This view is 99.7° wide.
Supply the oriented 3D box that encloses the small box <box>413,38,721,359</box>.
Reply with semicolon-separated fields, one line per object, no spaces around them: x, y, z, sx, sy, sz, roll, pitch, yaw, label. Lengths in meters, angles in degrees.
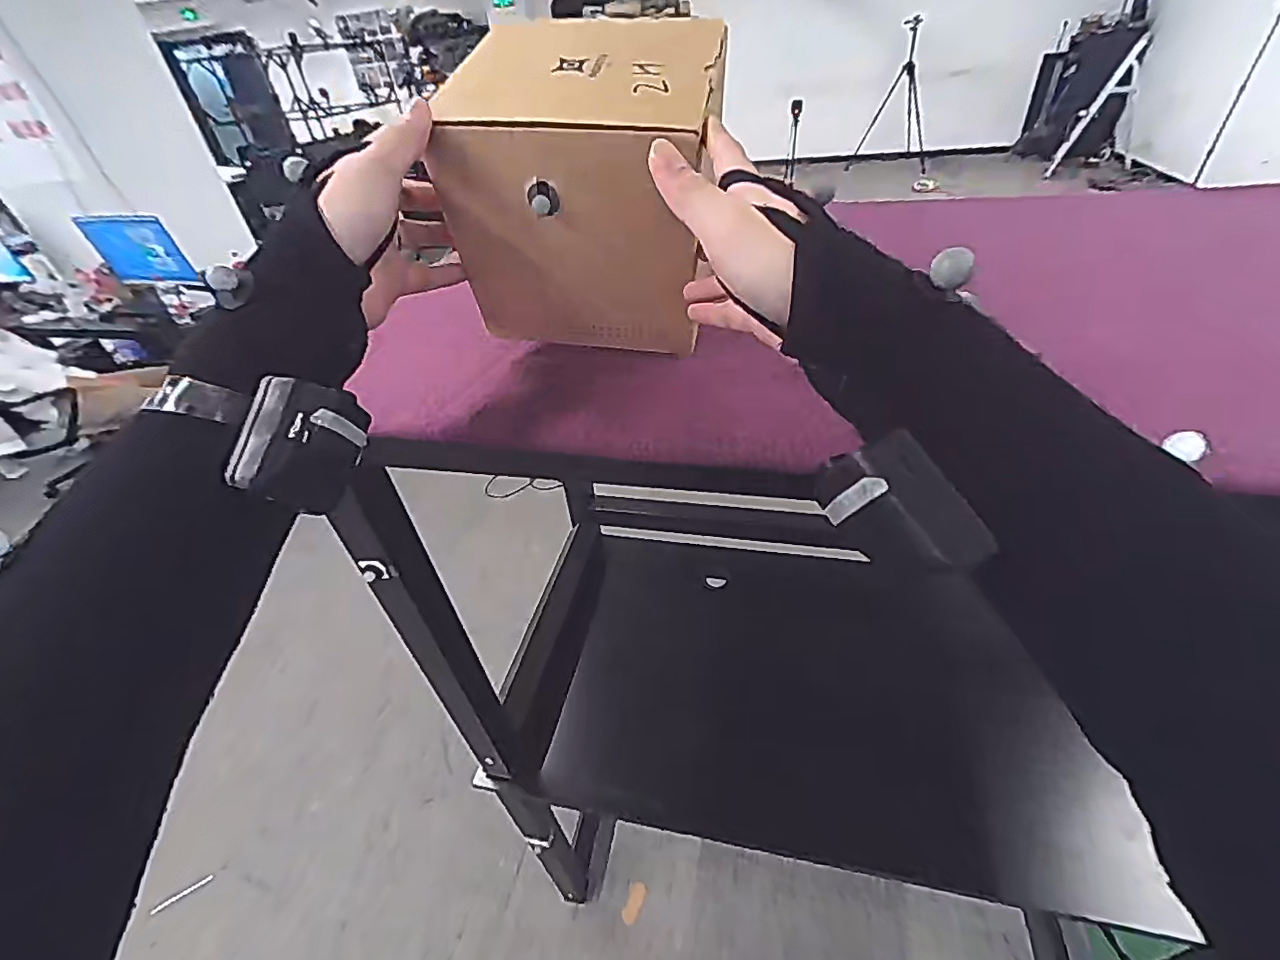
-0.036;-0.214;0.427;0.179;0.176;0.168;7;57;9;small box
